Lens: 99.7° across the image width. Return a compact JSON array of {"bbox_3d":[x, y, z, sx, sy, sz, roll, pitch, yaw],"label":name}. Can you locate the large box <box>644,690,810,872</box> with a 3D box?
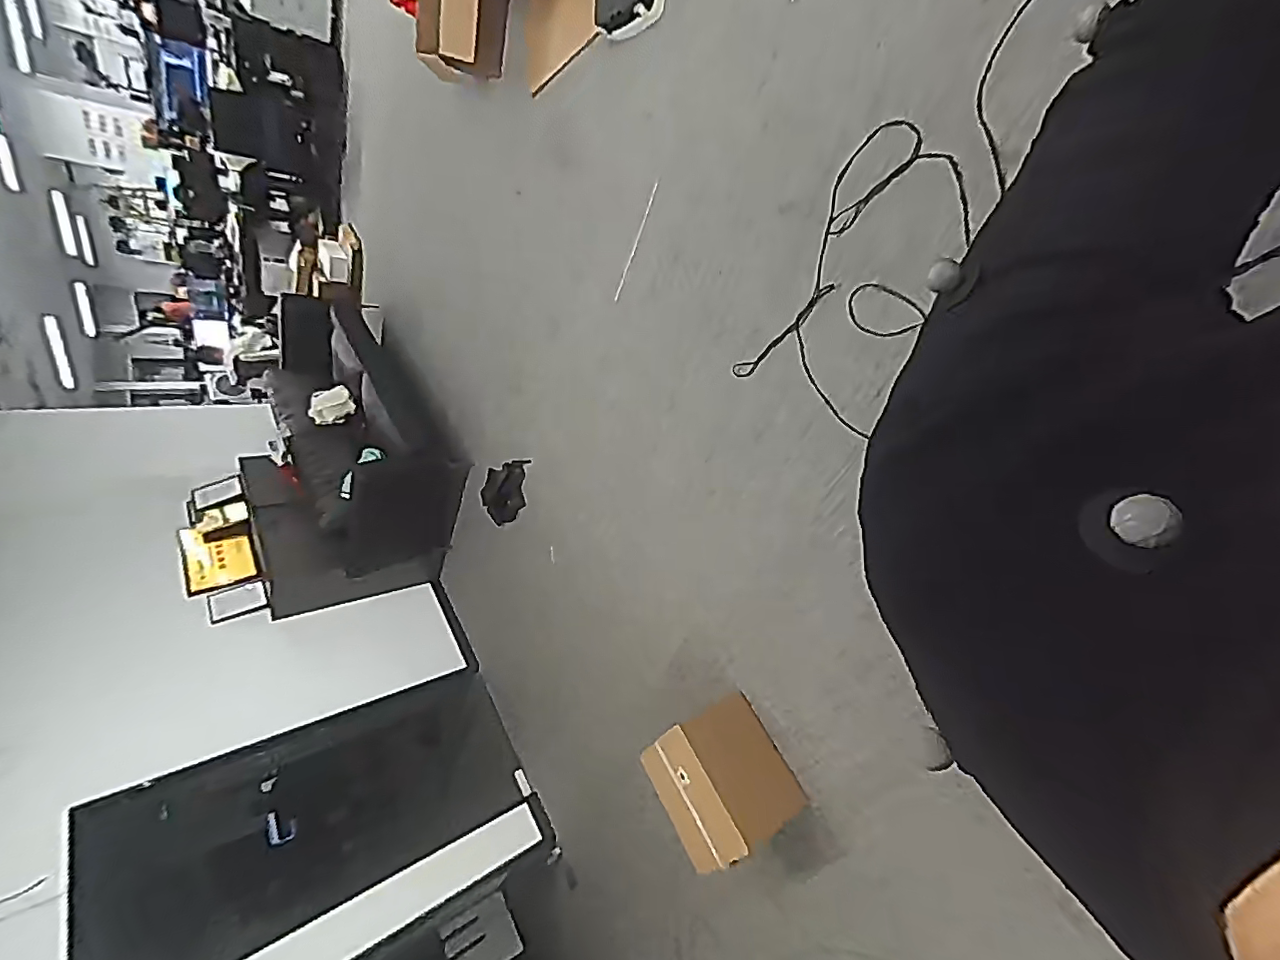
[{"bbox_3d":[0.286,1.007,1.836,0.408,0.320,0.320,57,134,28],"label":"large box"}]
